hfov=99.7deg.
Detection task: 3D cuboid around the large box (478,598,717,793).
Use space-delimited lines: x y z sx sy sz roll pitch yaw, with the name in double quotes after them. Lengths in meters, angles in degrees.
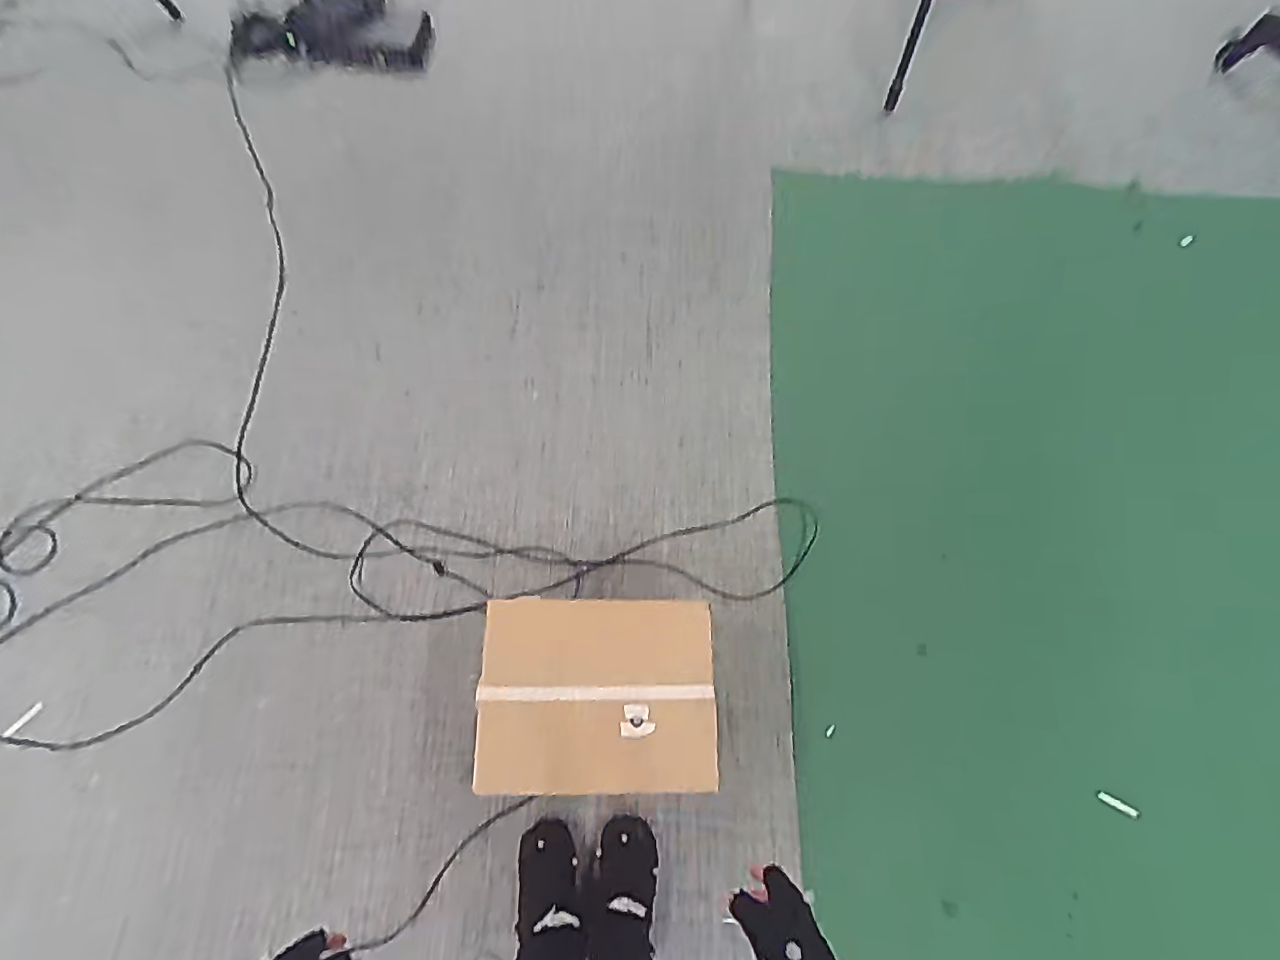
-0.082 0.412 1.078 0.408 0.320 0.320 1 72 -4 "large box"
